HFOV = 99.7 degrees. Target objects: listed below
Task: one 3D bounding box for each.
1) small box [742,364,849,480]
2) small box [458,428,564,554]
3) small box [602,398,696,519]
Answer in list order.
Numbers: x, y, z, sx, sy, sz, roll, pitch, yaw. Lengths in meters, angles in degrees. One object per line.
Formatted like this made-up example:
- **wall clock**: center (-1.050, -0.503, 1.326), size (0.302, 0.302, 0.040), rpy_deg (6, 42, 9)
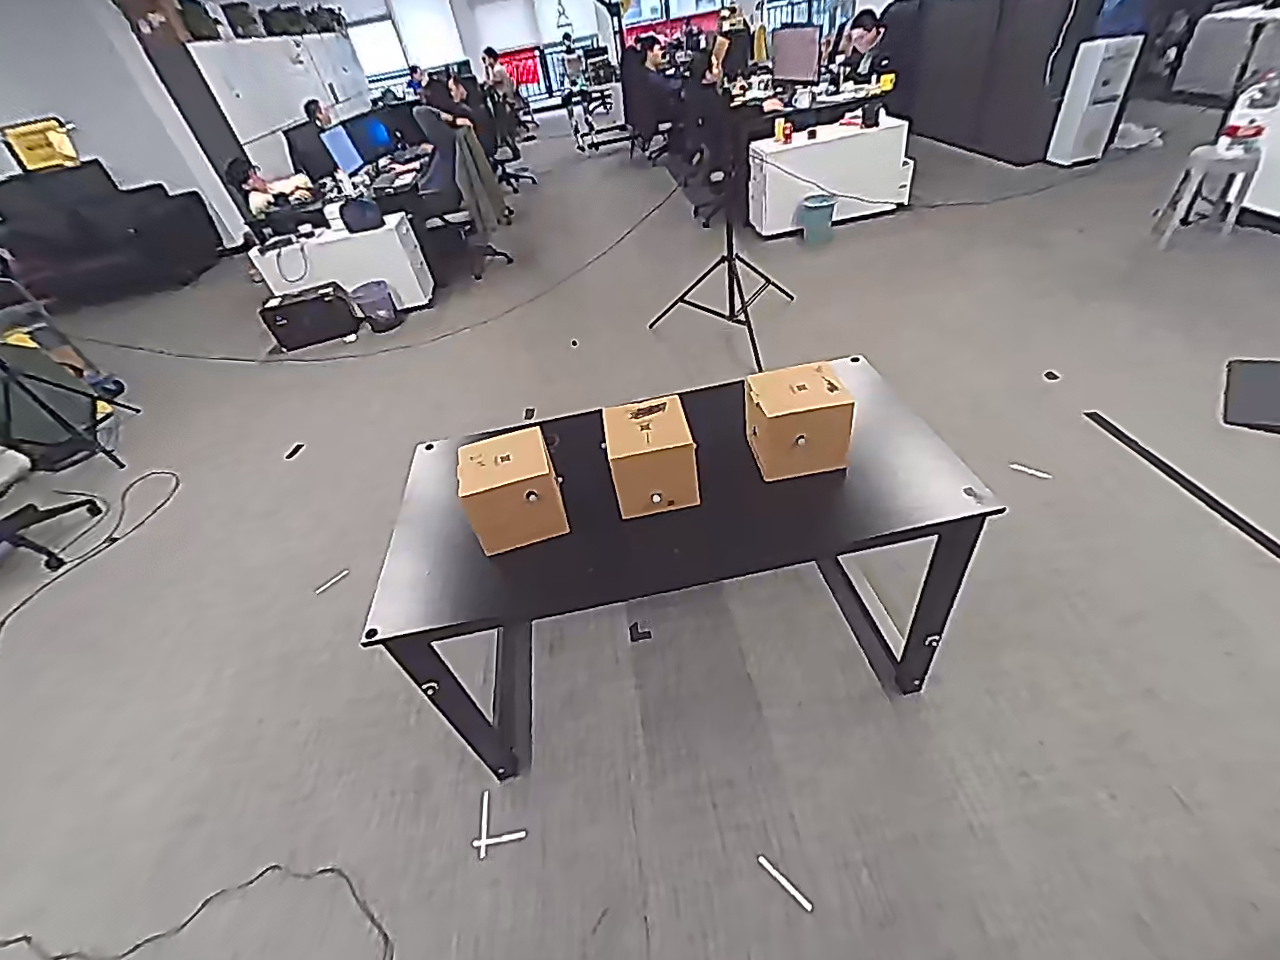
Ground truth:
- **small box**: center (0.325, -0.118, 1.147), size (0.179, 0.176, 0.168), rpy_deg (-11, 41, 2)
- **small box**: center (-0.262, 0.024, 1.119), size (0.179, 0.176, 0.168), rpy_deg (-17, 41, -5)
- **small box**: center (0.019, -0.046, 1.135), size (0.168, 0.176, 0.179), rpy_deg (-11, 42, 1)
